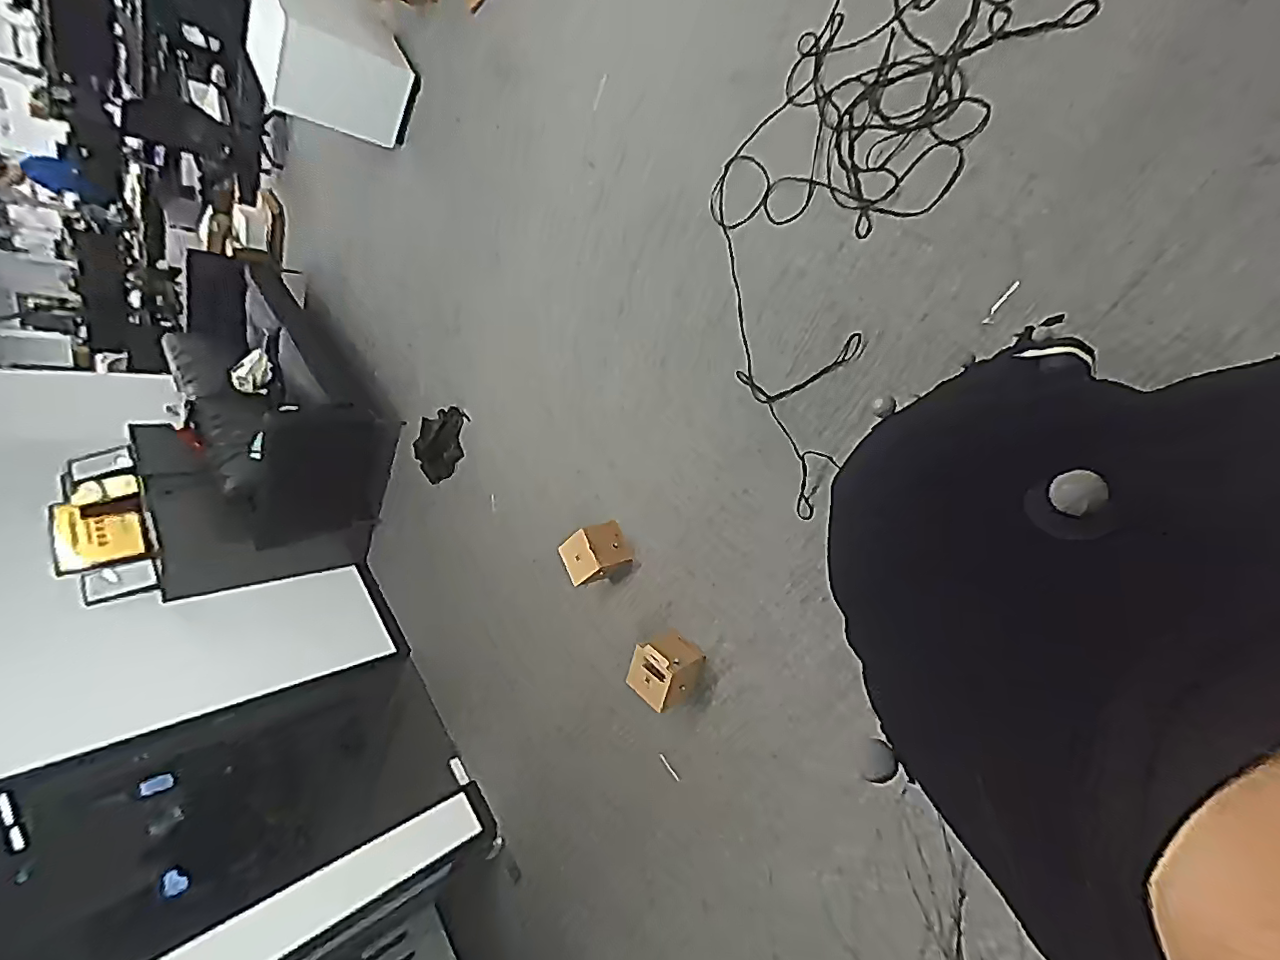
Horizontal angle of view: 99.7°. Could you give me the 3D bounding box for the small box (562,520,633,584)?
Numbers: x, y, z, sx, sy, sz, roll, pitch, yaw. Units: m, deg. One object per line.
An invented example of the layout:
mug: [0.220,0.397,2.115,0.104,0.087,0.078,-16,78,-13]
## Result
small box: [-0.156,0.267,2.016,0.179,0.176,0.168,-41,67,39]
